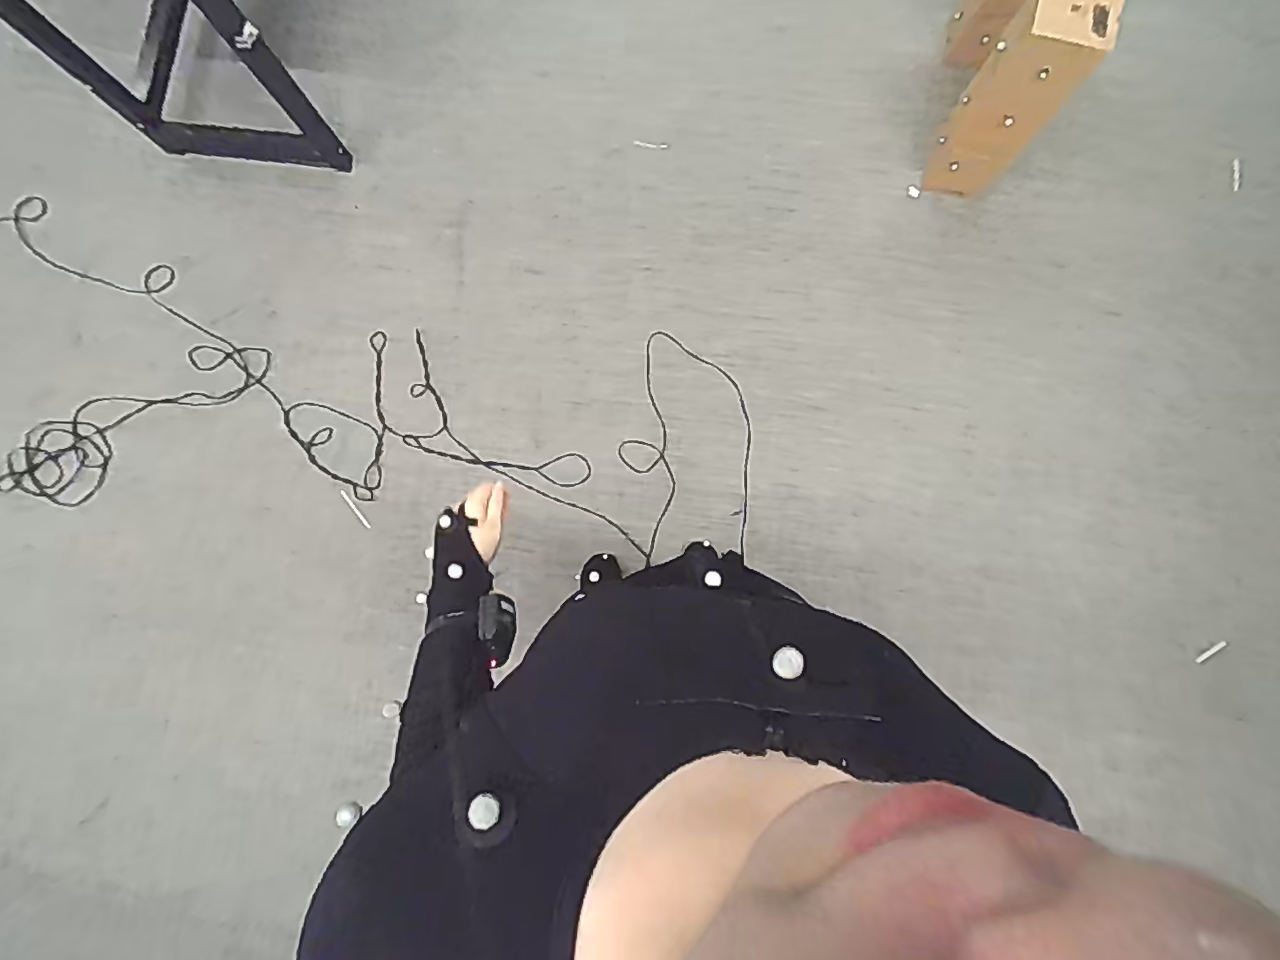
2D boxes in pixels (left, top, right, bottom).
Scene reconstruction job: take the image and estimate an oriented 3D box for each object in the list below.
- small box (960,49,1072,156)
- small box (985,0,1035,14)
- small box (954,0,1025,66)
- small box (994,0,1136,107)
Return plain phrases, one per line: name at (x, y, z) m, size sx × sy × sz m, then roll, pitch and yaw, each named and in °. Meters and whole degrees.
small box at (0.955, -0.961, 1.369) m, size 0.179 × 0.176 × 0.168 m, roll 15°, pitch 84°, yaw 4°
small box at (1.045, -1.368, 1.411) m, size 0.179 × 0.176 × 0.168 m, roll 8°, pitch 83°, yaw 3°
small box at (1.050, -1.353, 1.573) m, size 0.179 × 0.176 × 0.168 m, roll 11°, pitch 84°, yaw 3°
small box at (0.942, -0.980, 1.206) m, size 0.179 × 0.176 × 0.168 m, roll 17°, pitch 84°, yaw 5°
